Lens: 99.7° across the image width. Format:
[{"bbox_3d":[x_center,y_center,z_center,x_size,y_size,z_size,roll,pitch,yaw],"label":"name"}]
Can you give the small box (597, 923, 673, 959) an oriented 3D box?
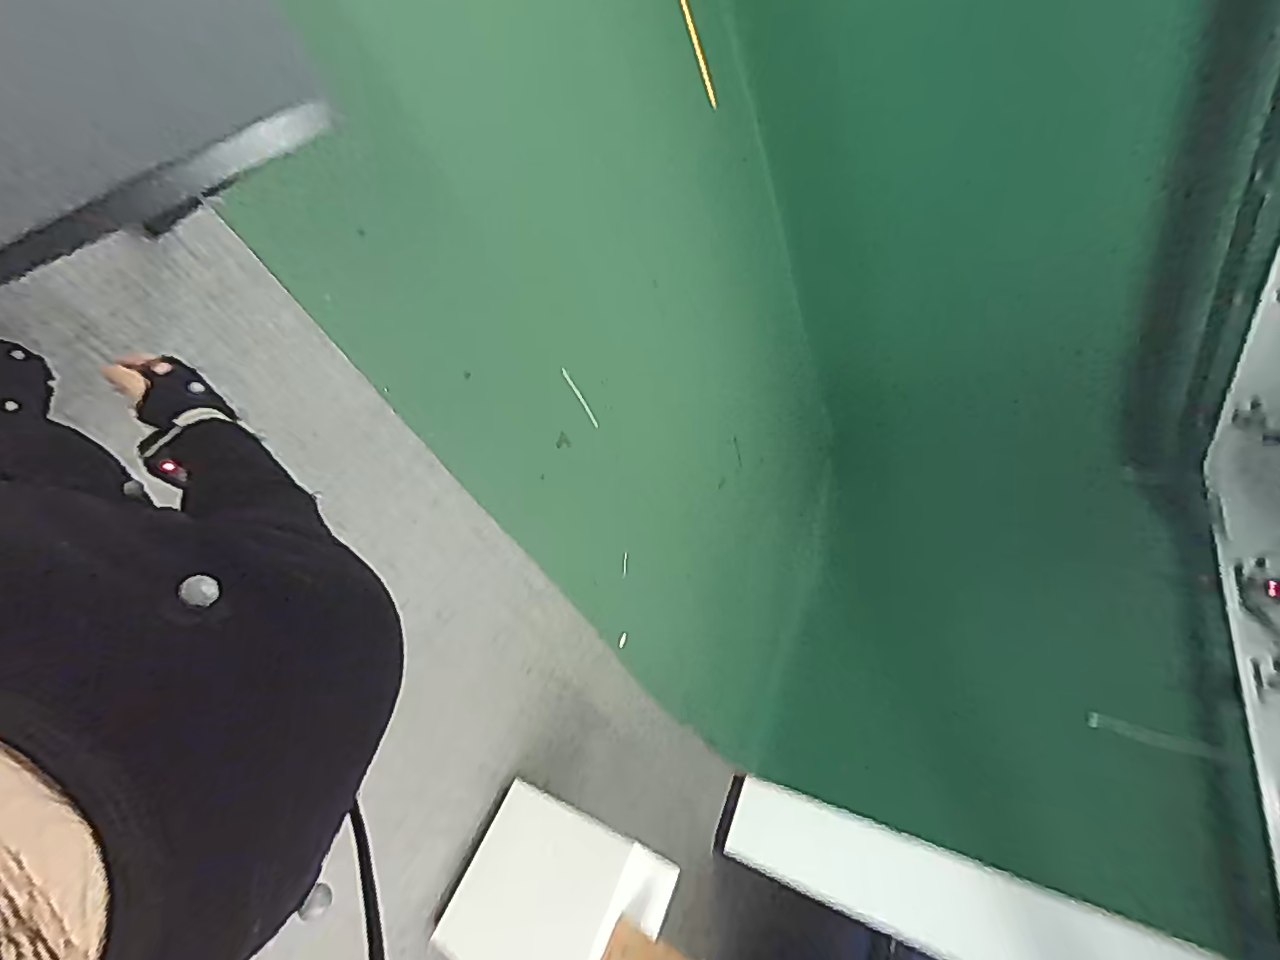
[{"bbox_3d":[-0.023,1.450,1.588,0.168,0.176,0.179,-59,137,-35],"label":"small box"}]
